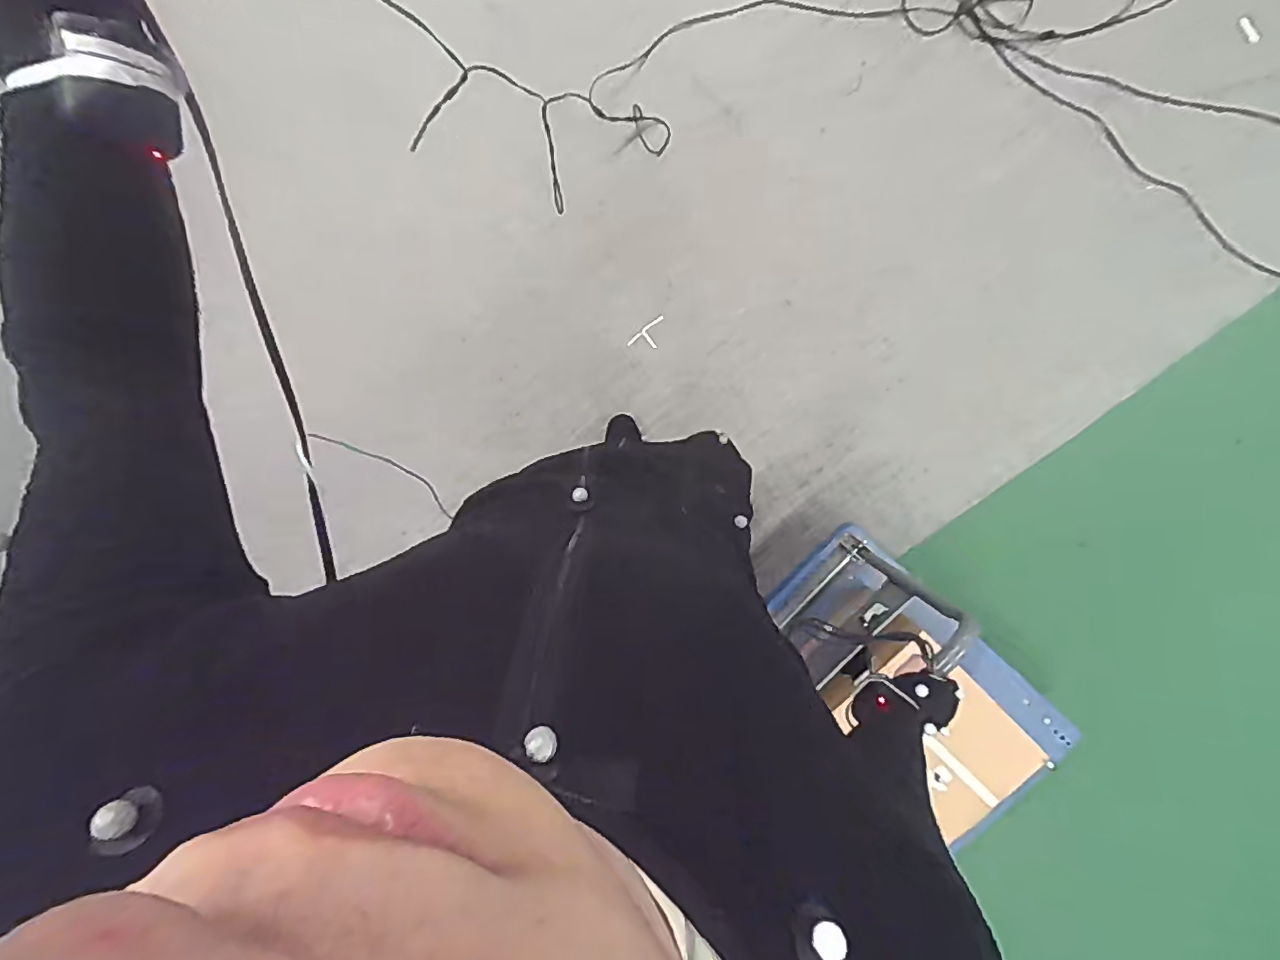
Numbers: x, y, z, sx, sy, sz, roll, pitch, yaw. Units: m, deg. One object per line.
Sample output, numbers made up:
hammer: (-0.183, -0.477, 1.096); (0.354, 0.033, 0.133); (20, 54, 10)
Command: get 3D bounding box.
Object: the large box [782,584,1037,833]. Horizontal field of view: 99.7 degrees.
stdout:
large box: (0.626, 0.532, 1.331); (0.320, 0.320, 0.408); (-45, 94, 6)
